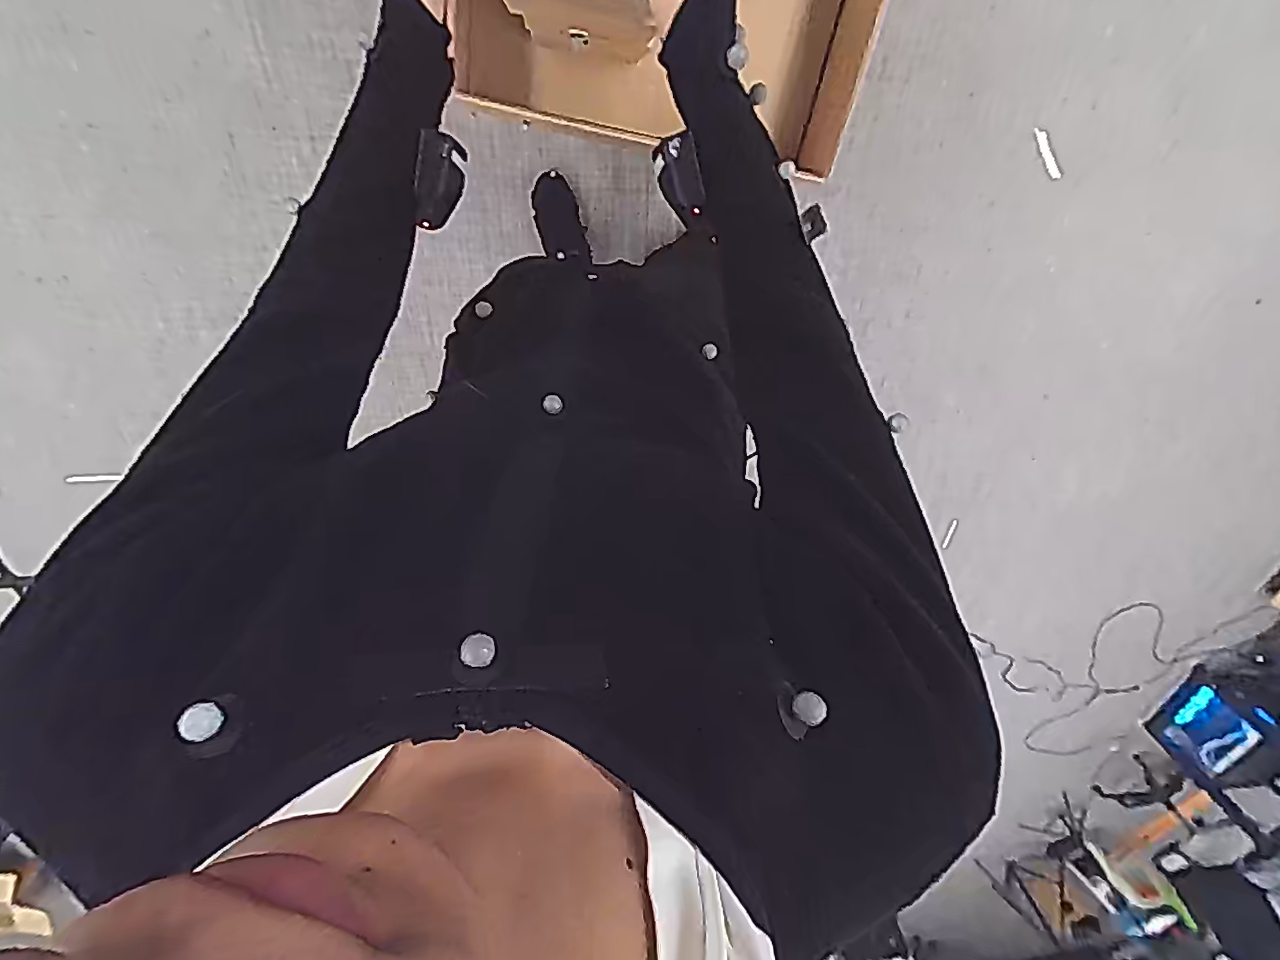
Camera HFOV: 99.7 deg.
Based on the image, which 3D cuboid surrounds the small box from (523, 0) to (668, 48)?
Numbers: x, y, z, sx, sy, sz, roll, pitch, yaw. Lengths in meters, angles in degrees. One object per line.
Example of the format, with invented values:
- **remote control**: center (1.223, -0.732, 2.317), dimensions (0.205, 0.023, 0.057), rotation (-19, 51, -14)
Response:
- **small box**: center (-0.053, -0.634, 0.627), dimensions (0.168, 0.176, 0.179), rotation (1, 122, -8)

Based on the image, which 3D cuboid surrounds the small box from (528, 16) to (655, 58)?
- **small box**: center (-0.065, -0.721, 0.766), dimensions (0.179, 0.176, 0.168), rotation (2, 123, -11)
